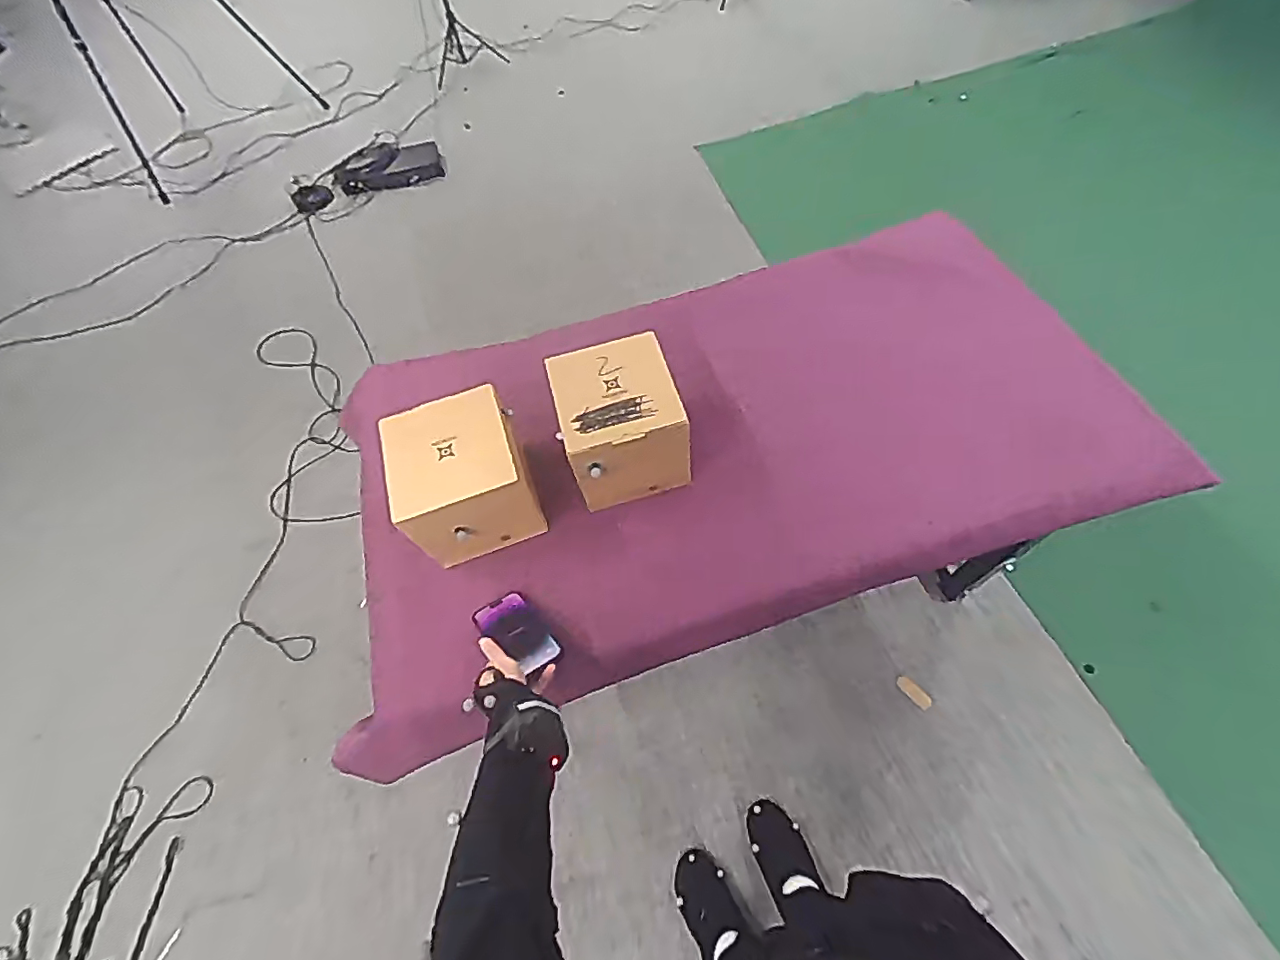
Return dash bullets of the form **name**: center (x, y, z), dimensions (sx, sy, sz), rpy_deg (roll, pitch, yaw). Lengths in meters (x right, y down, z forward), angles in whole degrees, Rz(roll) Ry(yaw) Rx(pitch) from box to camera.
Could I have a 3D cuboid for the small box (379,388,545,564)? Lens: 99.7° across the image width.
- **small box**: center (-0.251, 0.004, 0.785), dimensions (0.168, 0.176, 0.179), rpy_deg (-20, 59, -5)
